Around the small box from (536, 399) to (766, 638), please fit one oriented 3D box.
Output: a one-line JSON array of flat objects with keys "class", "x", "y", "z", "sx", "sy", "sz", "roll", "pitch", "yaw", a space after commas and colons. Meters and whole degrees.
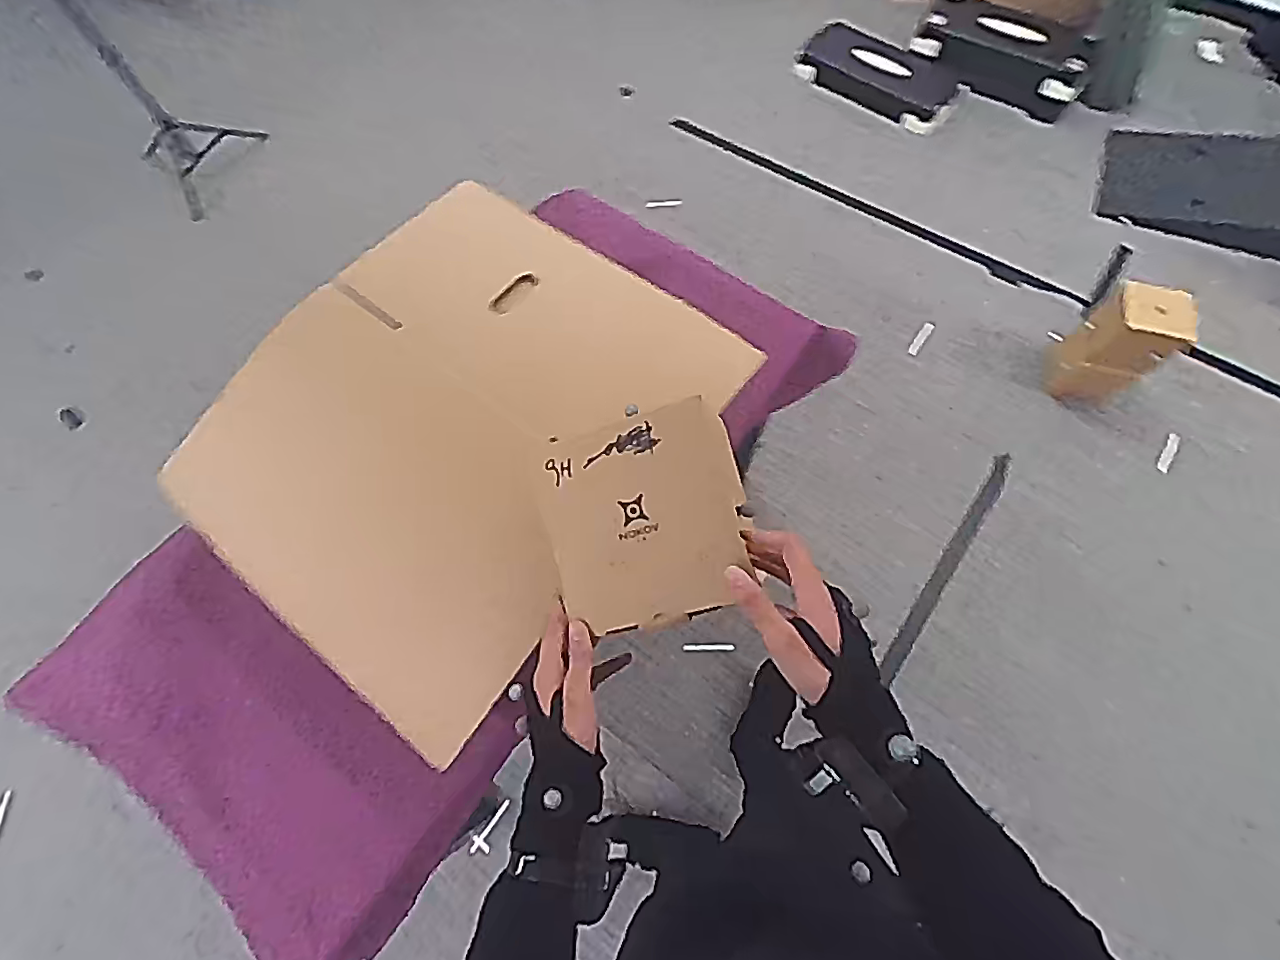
[{"class": "small box", "x": 0.024, "y": 0.036, "z": 0.538, "sx": 0.168, "sy": 0.176, "sz": 0.179, "roll": -16, "pitch": 84, "yaw": 14}]
